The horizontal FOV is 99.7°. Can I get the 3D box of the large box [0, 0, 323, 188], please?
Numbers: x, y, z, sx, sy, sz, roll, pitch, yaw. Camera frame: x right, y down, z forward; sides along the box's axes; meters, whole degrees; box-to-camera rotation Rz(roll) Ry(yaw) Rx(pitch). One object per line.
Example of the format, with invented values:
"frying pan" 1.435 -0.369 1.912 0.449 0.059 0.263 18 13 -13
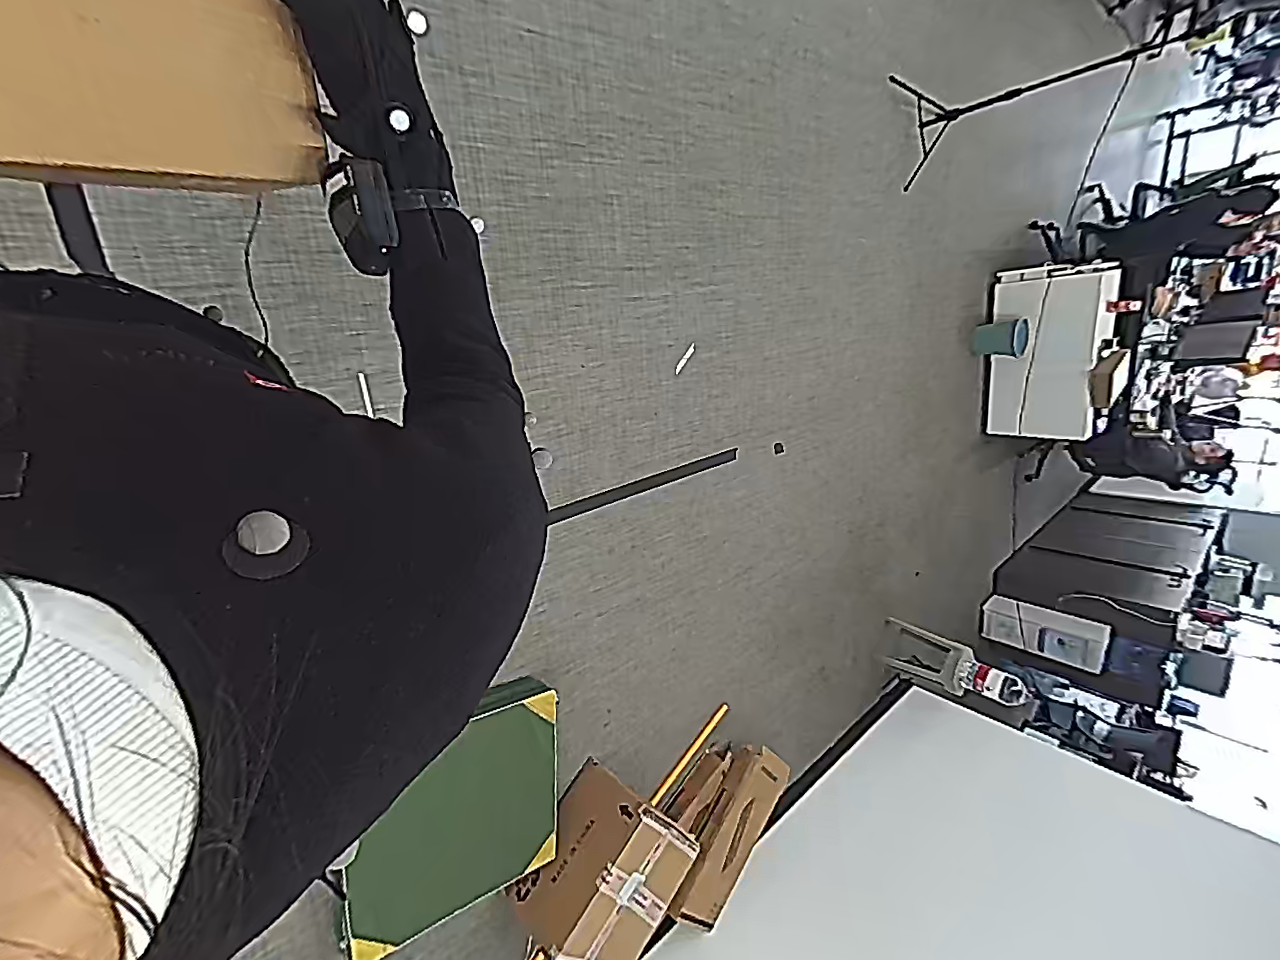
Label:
"large box" -0.479 -0.363 0.324 0.408 0.320 0.320 -18 123 -37
